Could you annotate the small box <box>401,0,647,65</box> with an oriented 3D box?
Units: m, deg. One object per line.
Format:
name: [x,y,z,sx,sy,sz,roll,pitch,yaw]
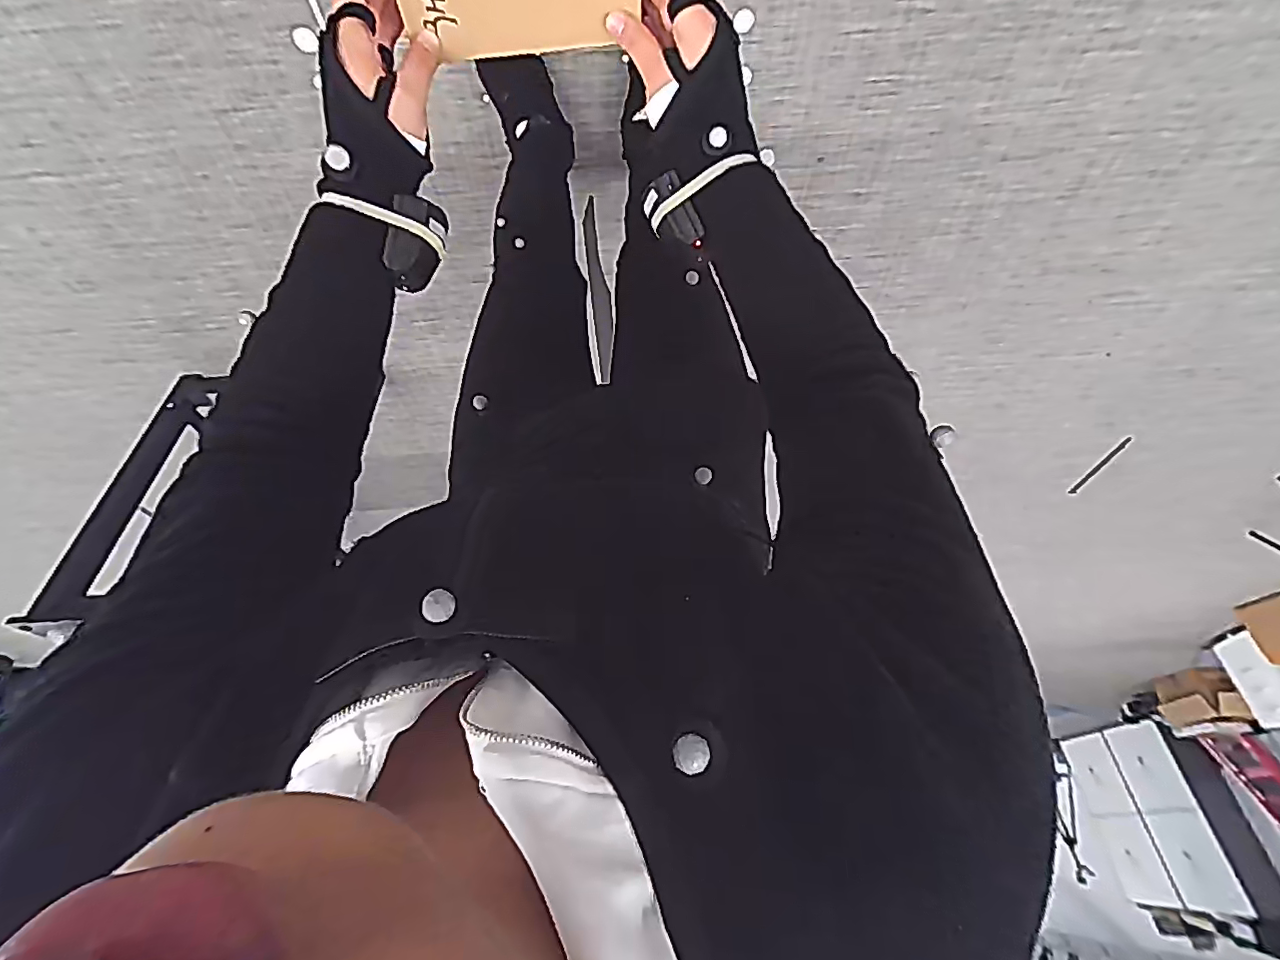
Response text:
small box: [-0.092,-0.436,0.391,0.179,0.176,0.168,-5,147,-1]
